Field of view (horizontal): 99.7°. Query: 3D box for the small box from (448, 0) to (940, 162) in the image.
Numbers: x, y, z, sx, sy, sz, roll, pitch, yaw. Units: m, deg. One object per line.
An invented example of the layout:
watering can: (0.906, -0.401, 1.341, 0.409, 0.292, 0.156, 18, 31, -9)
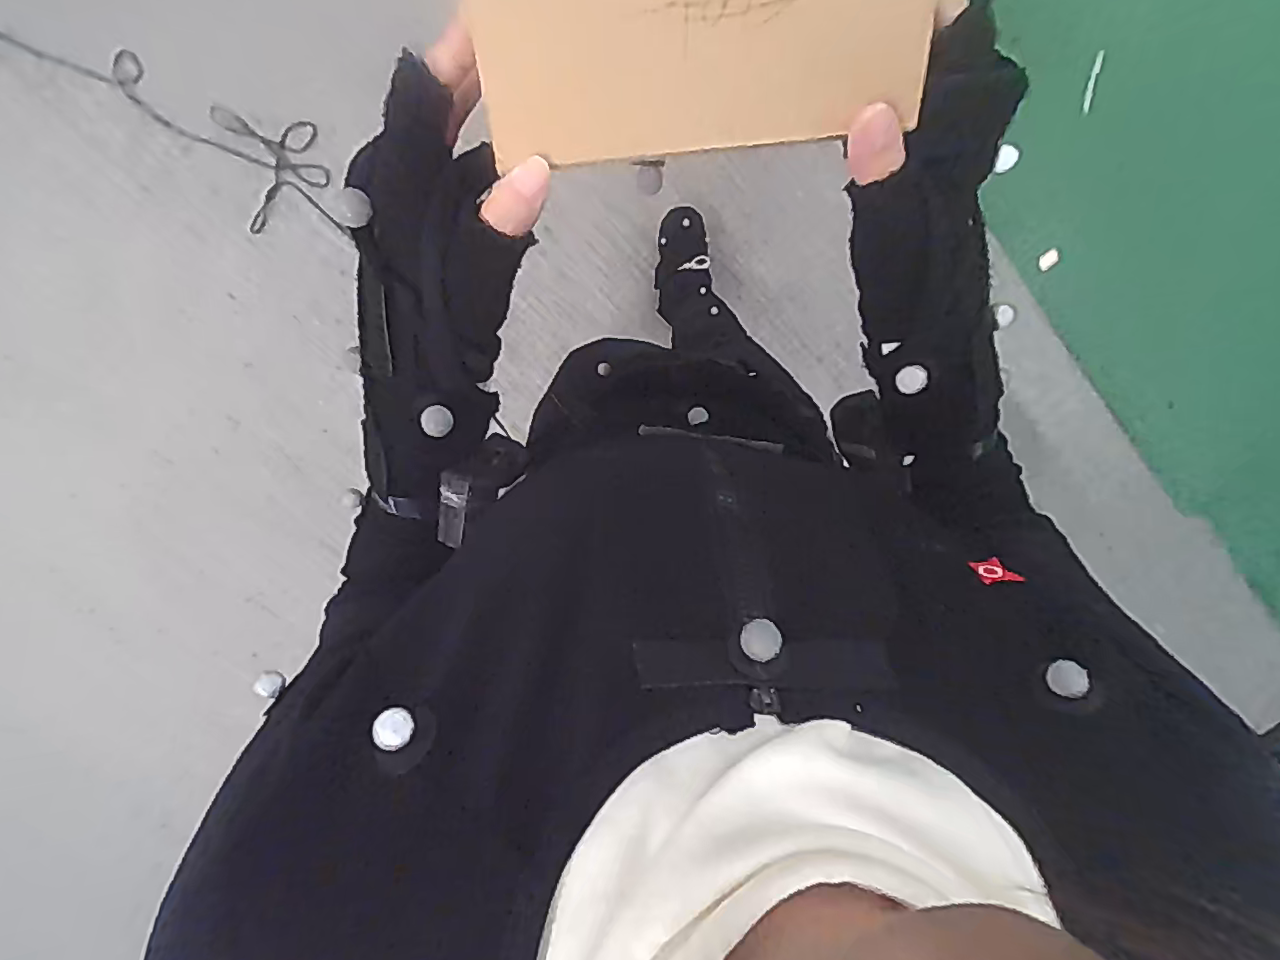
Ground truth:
small box: (0.008, -0.240, 0.221, 0.168, 0.176, 0.179, -7, 121, -1)
